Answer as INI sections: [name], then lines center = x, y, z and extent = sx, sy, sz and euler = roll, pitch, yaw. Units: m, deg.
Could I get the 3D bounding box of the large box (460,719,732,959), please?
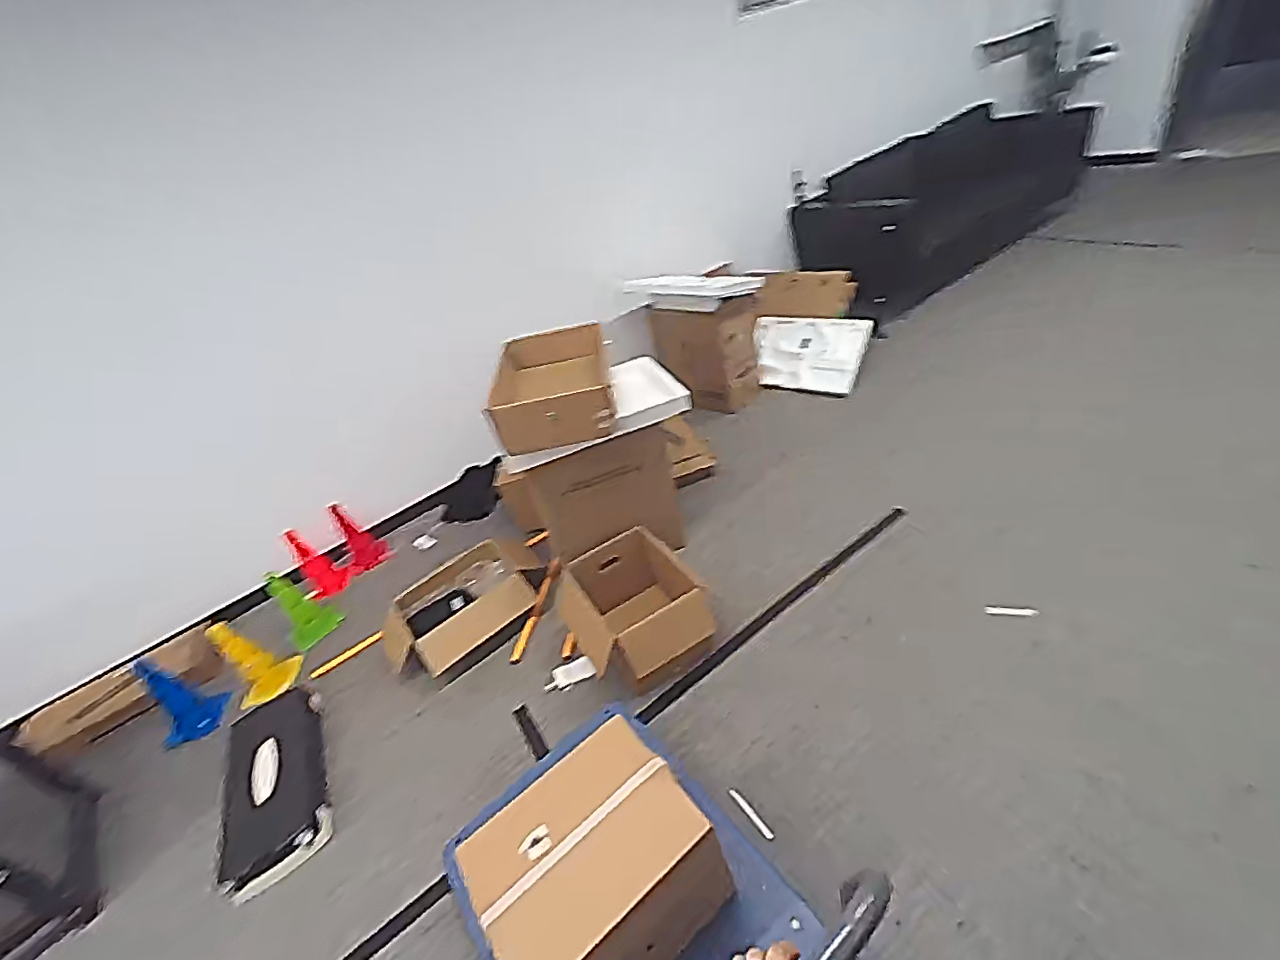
[large box]
center = -0.076, 0.798, 1.102
extent = 0.408, 0.320, 0.320
euler = -34, 36, -22
